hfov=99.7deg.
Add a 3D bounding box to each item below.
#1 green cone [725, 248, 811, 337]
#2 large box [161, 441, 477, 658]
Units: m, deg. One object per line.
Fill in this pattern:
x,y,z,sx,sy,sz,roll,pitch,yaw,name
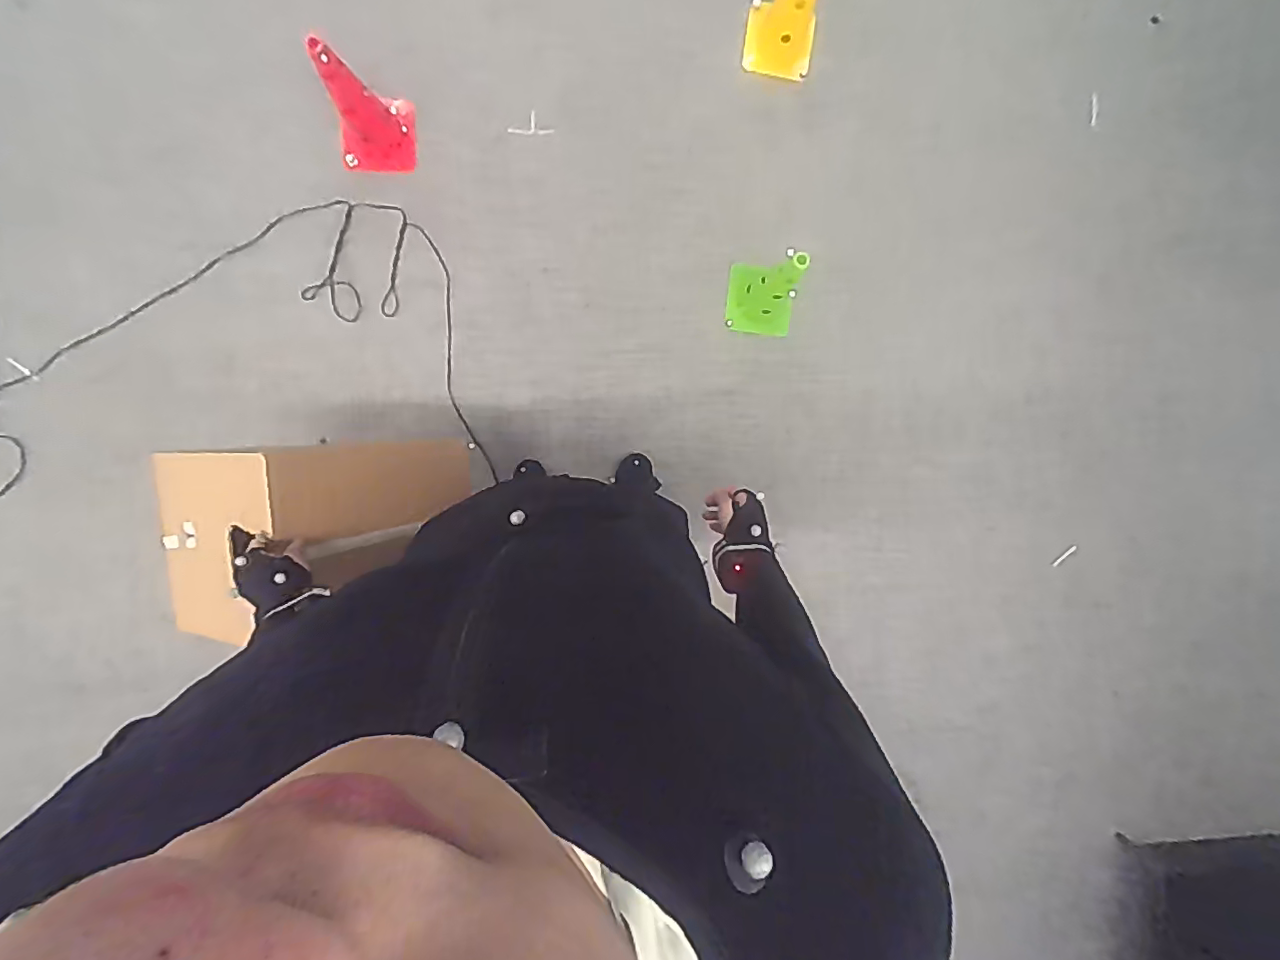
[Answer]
0.378,-0.536,1.470,0.200,0.368,0.202,5,92,-5,green cone
-0.576,0.094,1.031,0.320,0.408,0.320,2,97,25,large box
